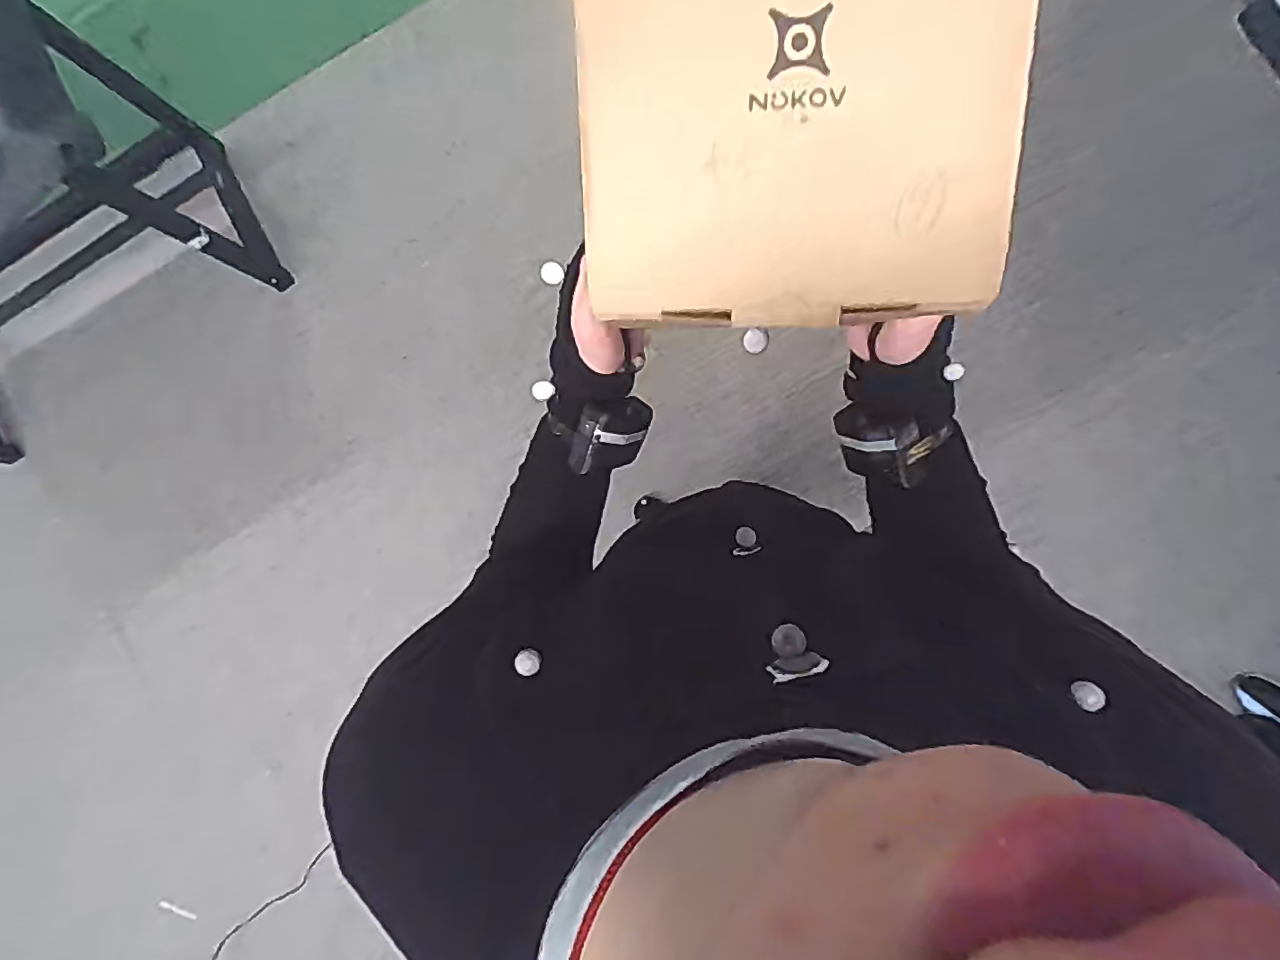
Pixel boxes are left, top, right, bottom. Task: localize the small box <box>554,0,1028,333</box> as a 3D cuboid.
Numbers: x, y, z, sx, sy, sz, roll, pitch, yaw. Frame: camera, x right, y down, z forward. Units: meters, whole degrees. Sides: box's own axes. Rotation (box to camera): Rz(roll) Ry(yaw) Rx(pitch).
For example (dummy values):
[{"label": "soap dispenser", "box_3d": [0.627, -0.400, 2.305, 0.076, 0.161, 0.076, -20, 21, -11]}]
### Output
[{"label": "small box", "box_3d": [0.055, -0.168, 0.272, 0.168, 0.176, 0.179, -1, 105, 3]}]
